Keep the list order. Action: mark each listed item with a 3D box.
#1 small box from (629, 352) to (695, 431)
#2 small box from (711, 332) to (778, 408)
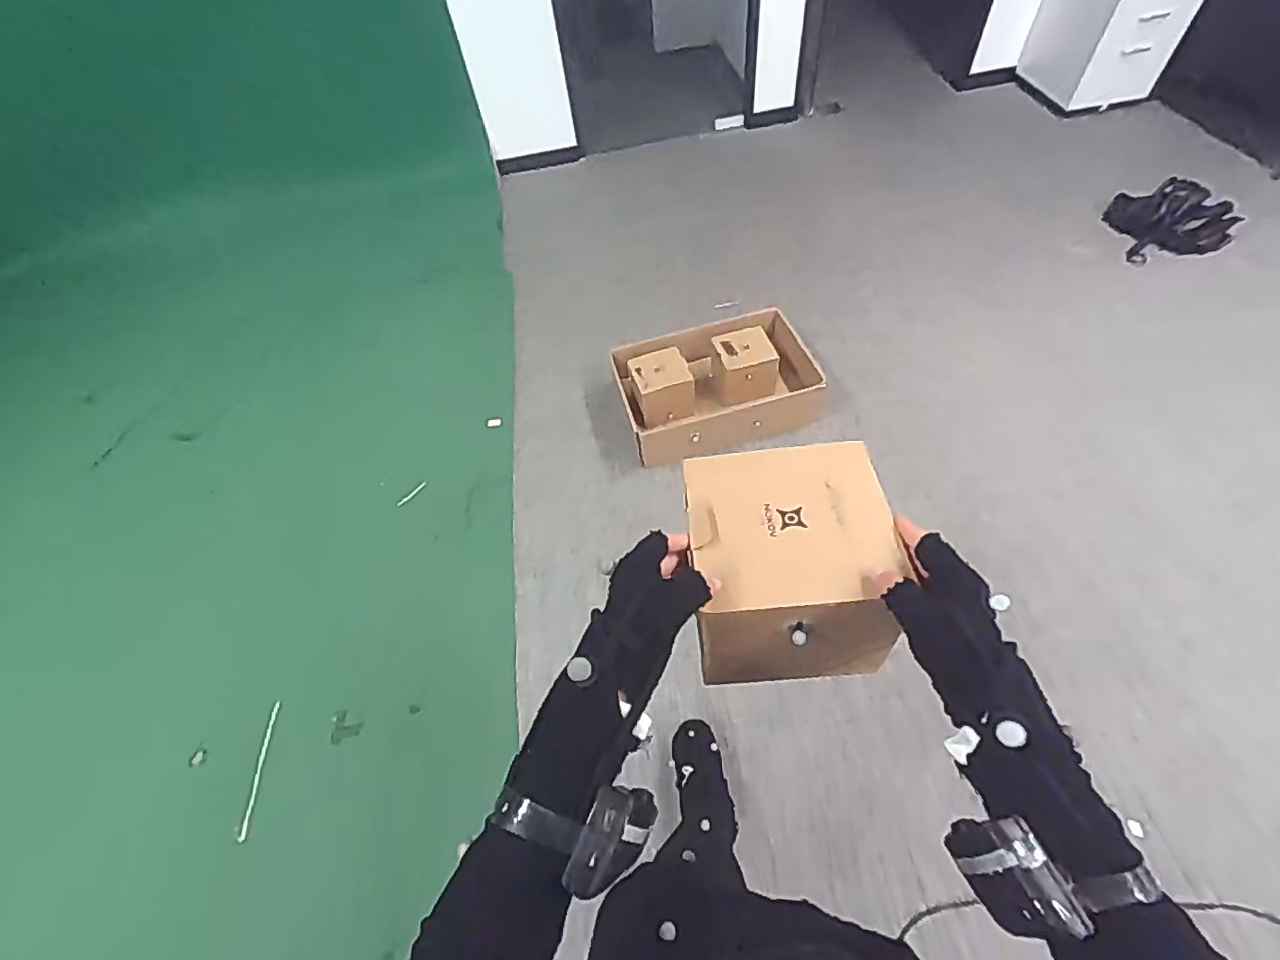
[{"bbox_3d":[0.073,-0.288,1.782,0.179,0.176,0.168,-17,54,-7],"label":"small box"},{"bbox_3d":[0.344,-0.362,1.801,0.179,0.176,0.168,-14,55,-3],"label":"small box"}]
